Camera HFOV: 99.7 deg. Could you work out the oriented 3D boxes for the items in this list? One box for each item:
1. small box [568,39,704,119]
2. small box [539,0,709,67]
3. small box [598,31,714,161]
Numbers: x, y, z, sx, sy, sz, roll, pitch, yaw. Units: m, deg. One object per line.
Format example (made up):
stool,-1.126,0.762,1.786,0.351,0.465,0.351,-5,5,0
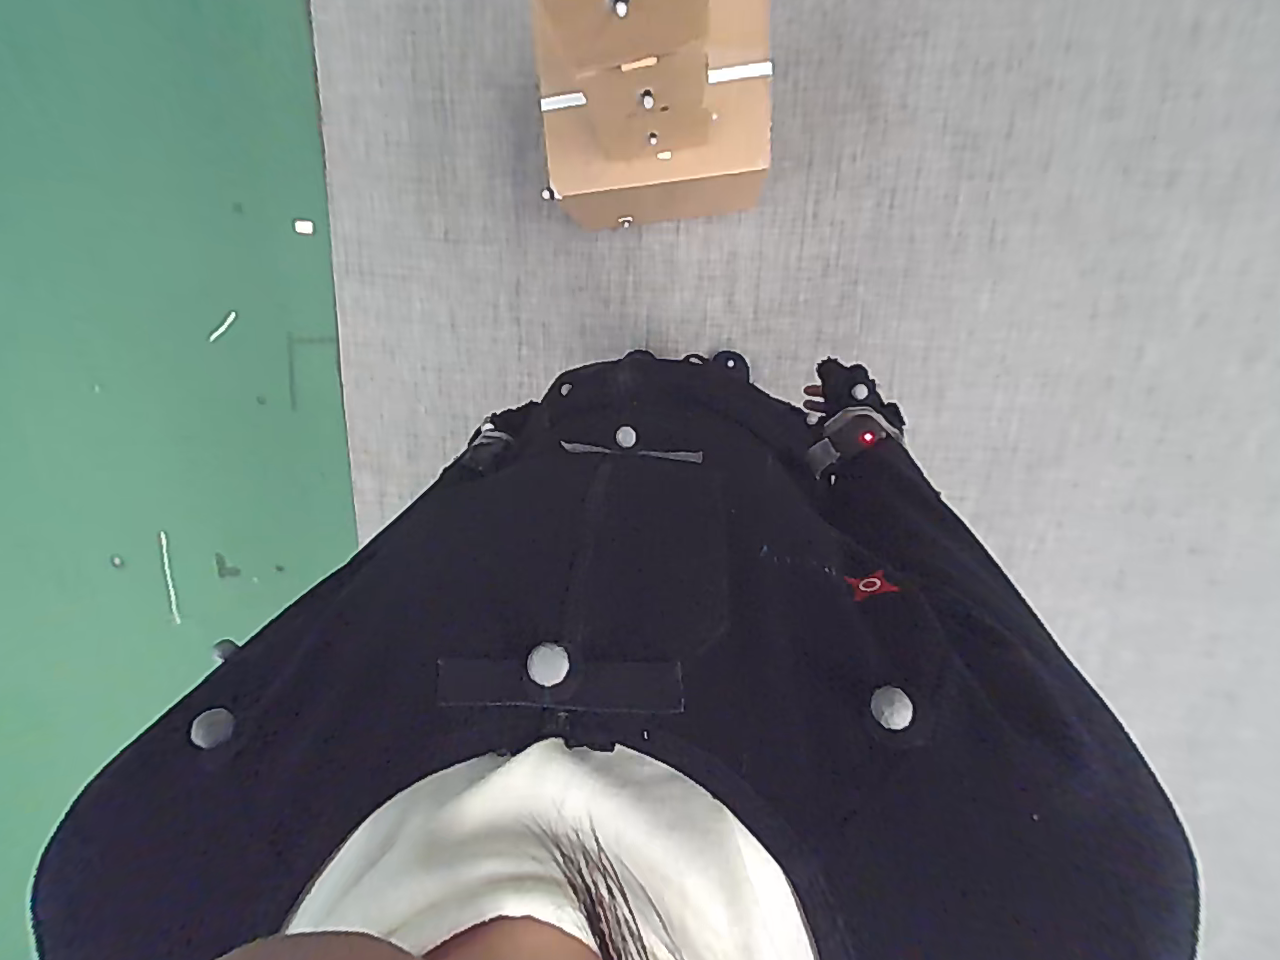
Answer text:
small box,-0.006,-0.606,0.712,0.168,0.176,0.179,-6,104,9
small box,-0.023,-0.565,0.555,0.179,0.176,0.168,-5,105,8
small box,0.019,-0.641,0.869,0.179,0.176,0.168,-8,103,9
